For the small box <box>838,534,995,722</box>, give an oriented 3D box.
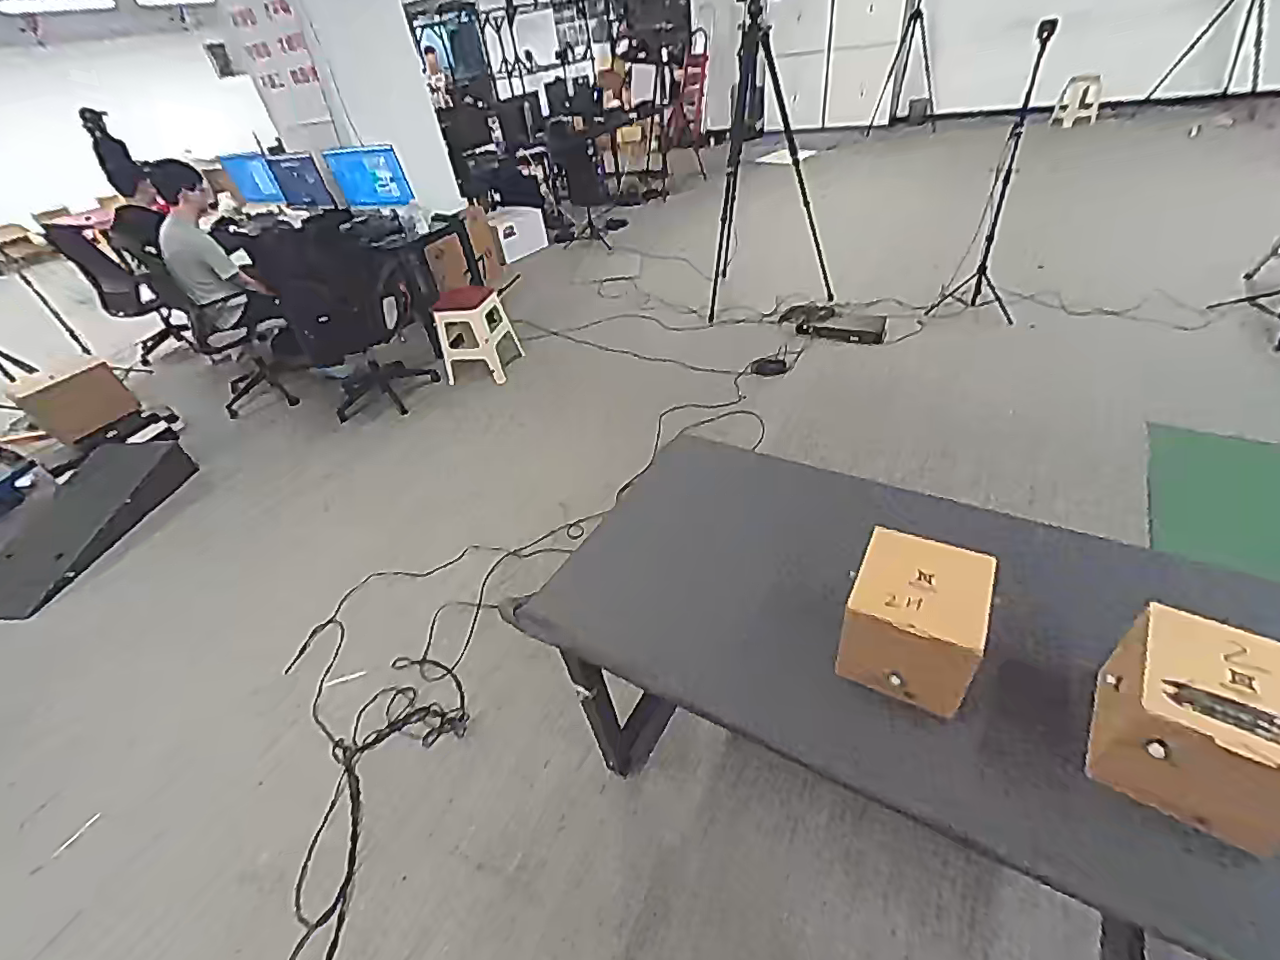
[{"bbox_3d":[0.404,0.216,0.804,0.168,0.176,0.179,16,44,28],"label":"small box"}]
